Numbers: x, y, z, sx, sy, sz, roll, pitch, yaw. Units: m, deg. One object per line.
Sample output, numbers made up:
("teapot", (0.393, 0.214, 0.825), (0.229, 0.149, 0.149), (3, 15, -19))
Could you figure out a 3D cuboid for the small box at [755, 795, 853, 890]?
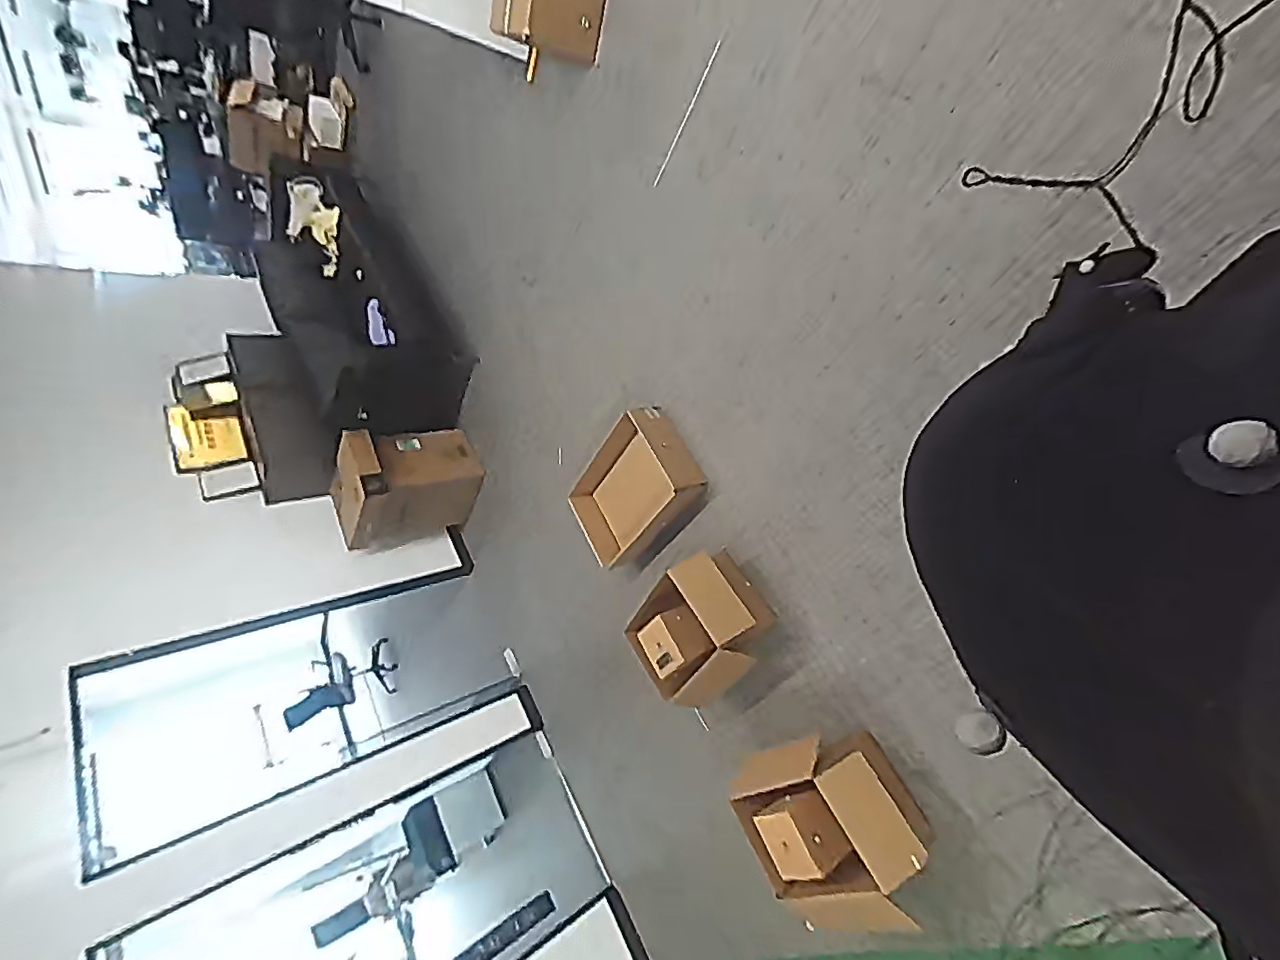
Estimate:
("small box", (0.475, 1.043, 1.568), (0.168, 0.176, 0.179), (-50, 60, 43))
